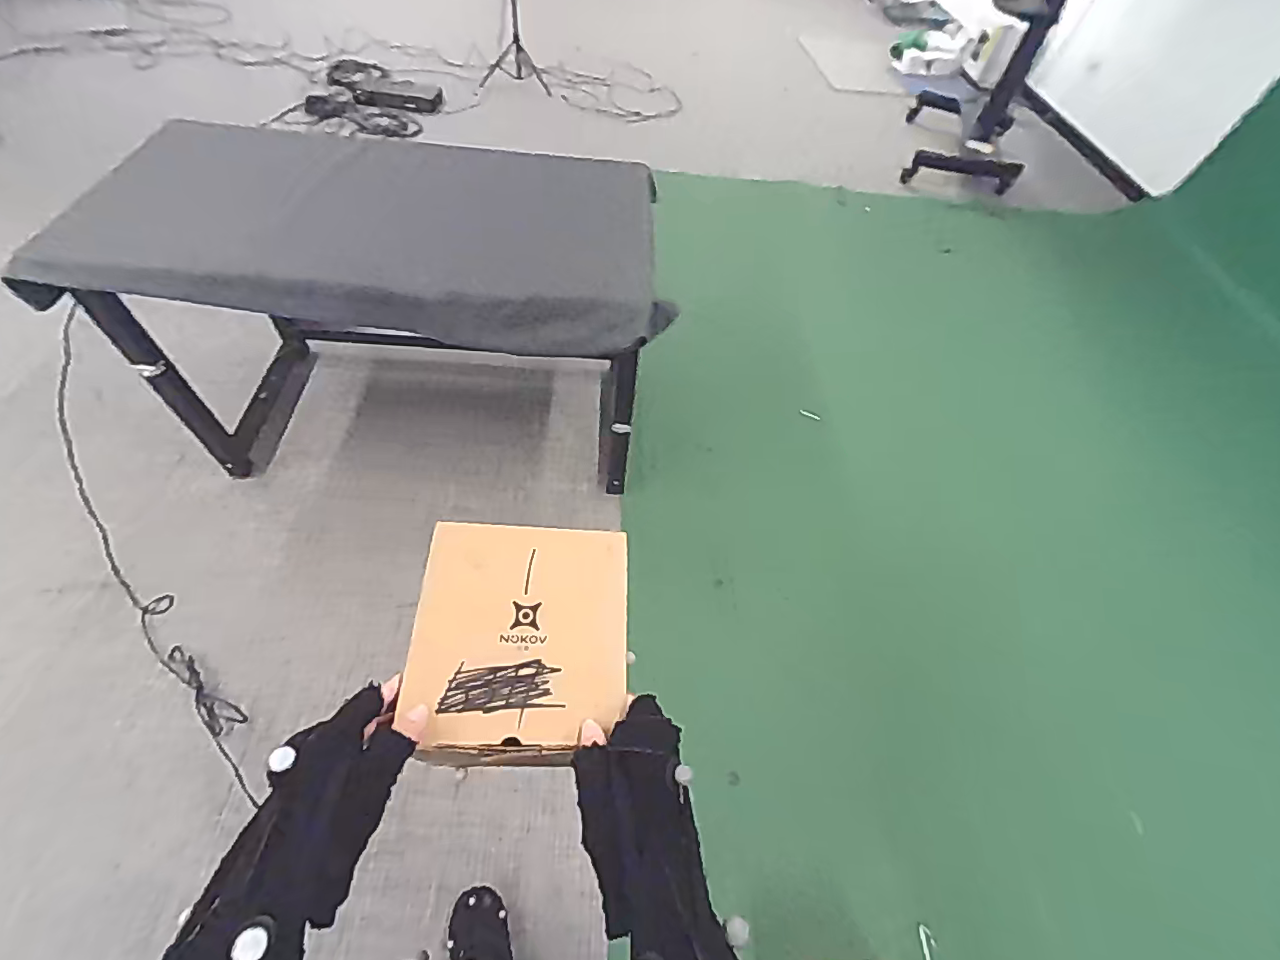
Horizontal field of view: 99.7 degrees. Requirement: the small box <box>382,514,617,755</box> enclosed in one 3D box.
[{"bbox_3d":[-0.110,0.148,0.491,0.168,0.176,0.179,3,58,-8],"label":"small box"}]
